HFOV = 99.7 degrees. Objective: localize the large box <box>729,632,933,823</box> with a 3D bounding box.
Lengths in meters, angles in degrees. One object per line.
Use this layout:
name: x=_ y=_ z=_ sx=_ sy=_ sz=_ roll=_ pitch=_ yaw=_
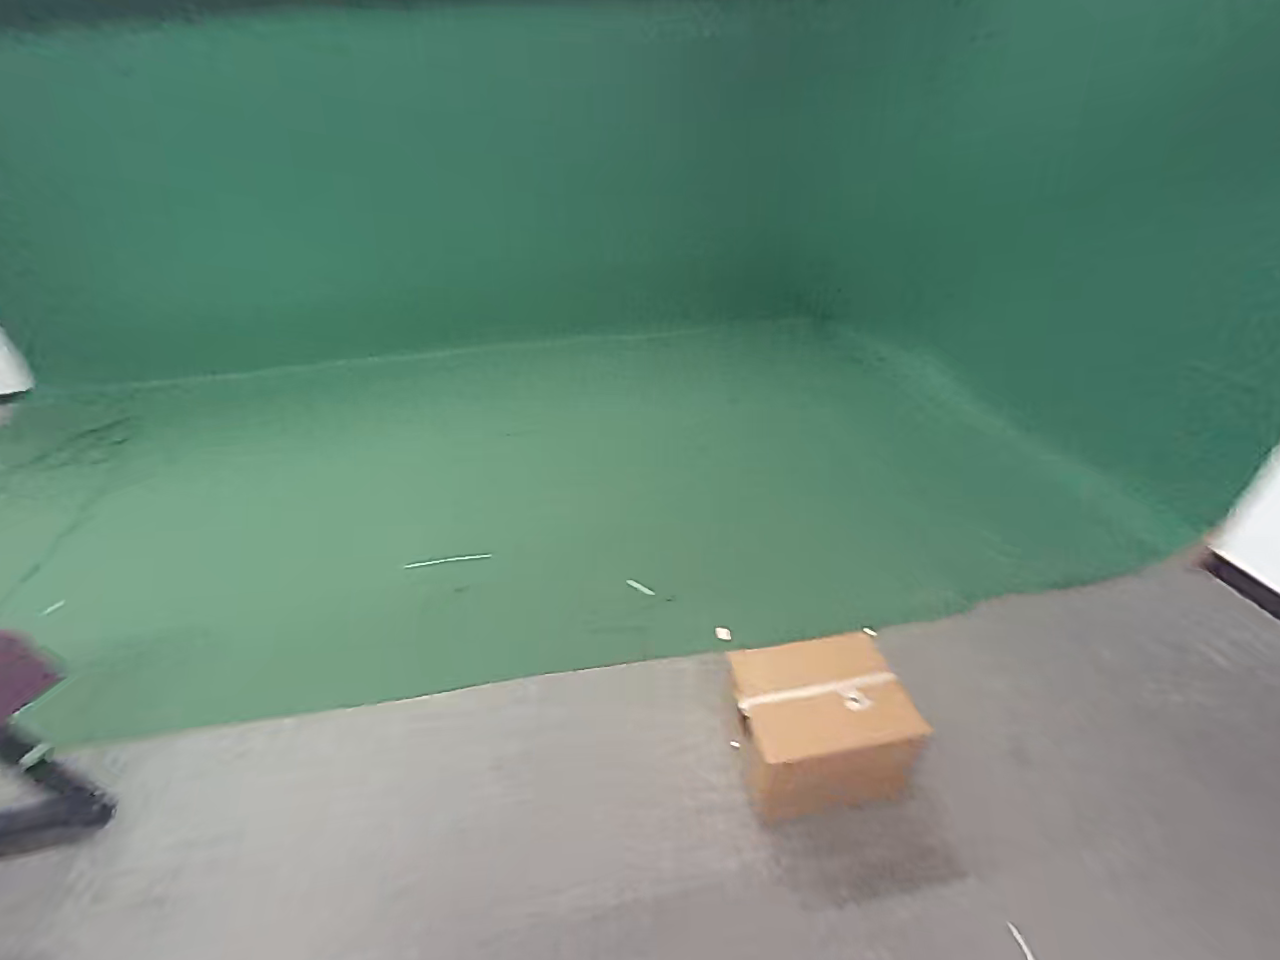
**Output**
large box: x=0.479 y=0.655 z=1.449 sx=0.408 sy=0.320 sz=0.320 roll=-7 pitch=34 yaw=-5
